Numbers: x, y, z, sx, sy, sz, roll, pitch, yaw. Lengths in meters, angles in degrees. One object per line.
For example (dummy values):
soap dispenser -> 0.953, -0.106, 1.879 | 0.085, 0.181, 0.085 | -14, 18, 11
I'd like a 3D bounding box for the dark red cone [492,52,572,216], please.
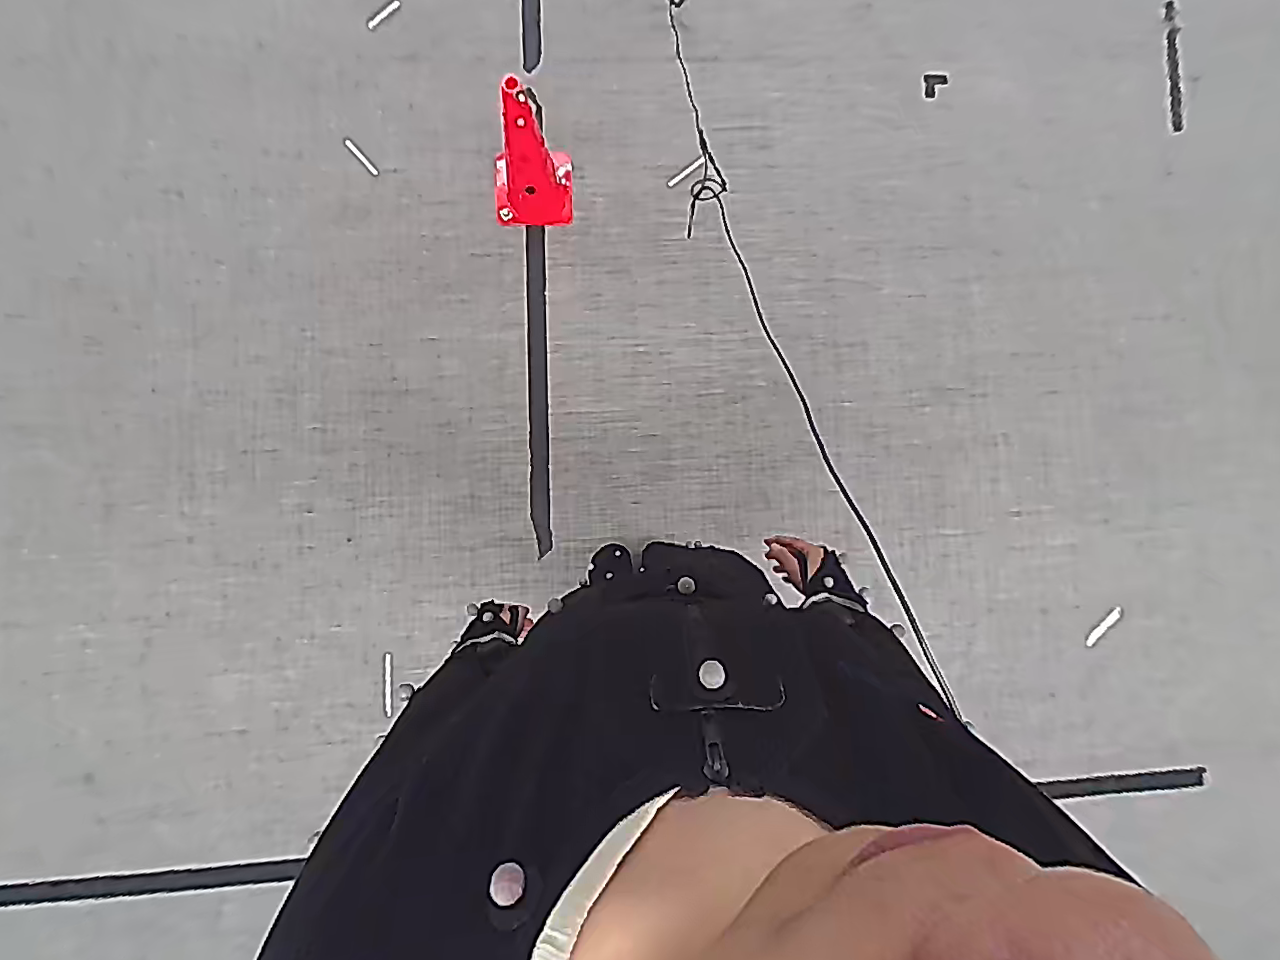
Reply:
dark red cone -> -0.263, -0.787, 1.230 | 0.201, 0.394, 0.202 | -3, 86, -5
